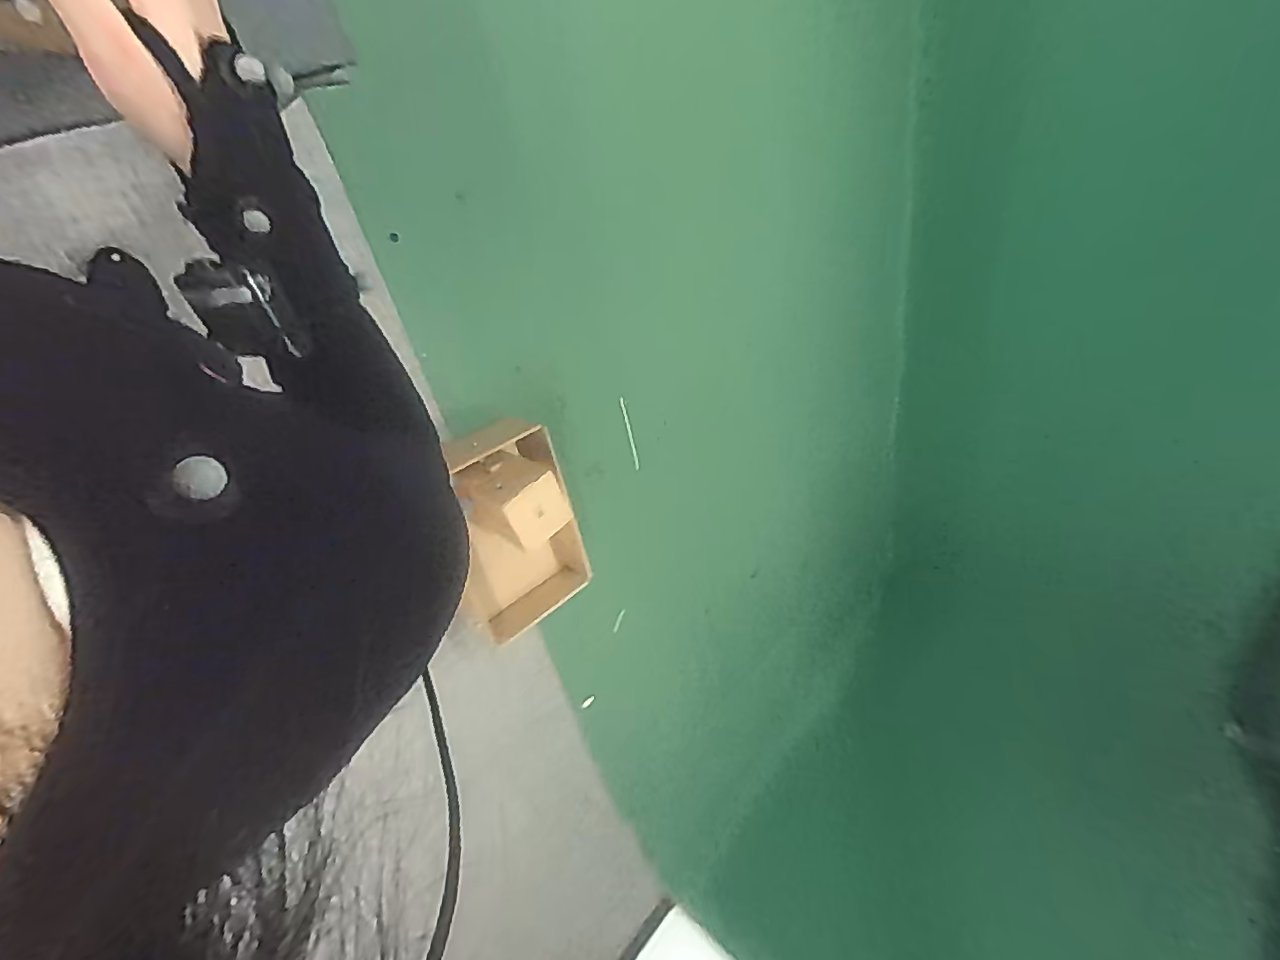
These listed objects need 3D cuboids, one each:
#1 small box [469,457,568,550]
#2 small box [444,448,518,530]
[{"bbox_3d":[-0.332,0.053,1.471,0.168,0.176,0.179,-41,132,-26],"label":"small box"},{"bbox_3d":[-0.445,0.016,1.583,0.168,0.176,0.179,-33,126,-33],"label":"small box"}]
